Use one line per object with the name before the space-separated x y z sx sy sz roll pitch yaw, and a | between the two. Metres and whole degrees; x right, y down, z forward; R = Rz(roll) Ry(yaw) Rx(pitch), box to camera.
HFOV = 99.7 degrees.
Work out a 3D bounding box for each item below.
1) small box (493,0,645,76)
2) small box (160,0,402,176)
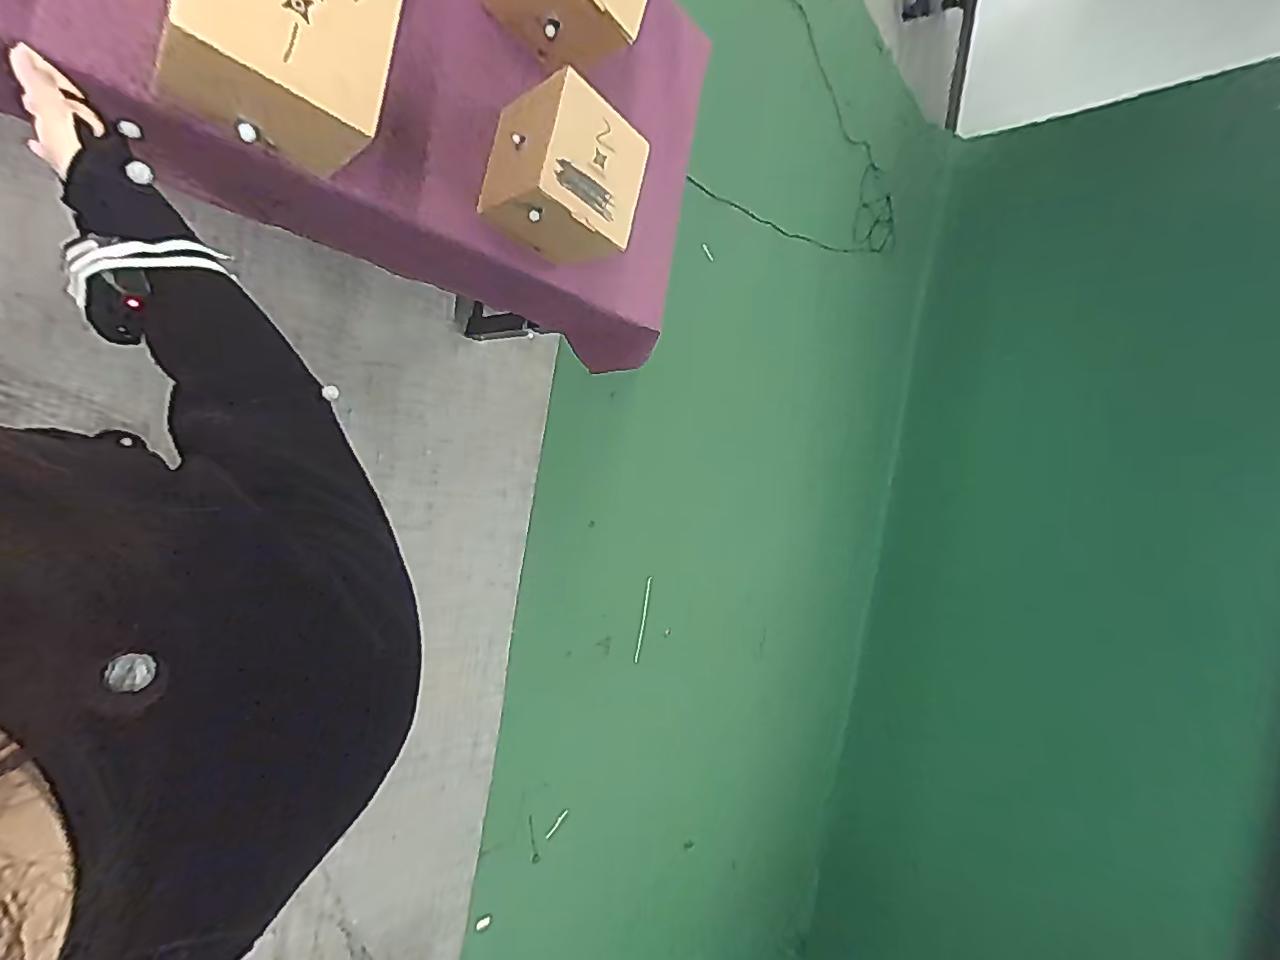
small box | -0.098 -0.737 0.774 0.168 0.176 0.179 18 86 -46
small box | -0.370 -0.455 0.556 0.168 0.176 0.179 11 90 -45
